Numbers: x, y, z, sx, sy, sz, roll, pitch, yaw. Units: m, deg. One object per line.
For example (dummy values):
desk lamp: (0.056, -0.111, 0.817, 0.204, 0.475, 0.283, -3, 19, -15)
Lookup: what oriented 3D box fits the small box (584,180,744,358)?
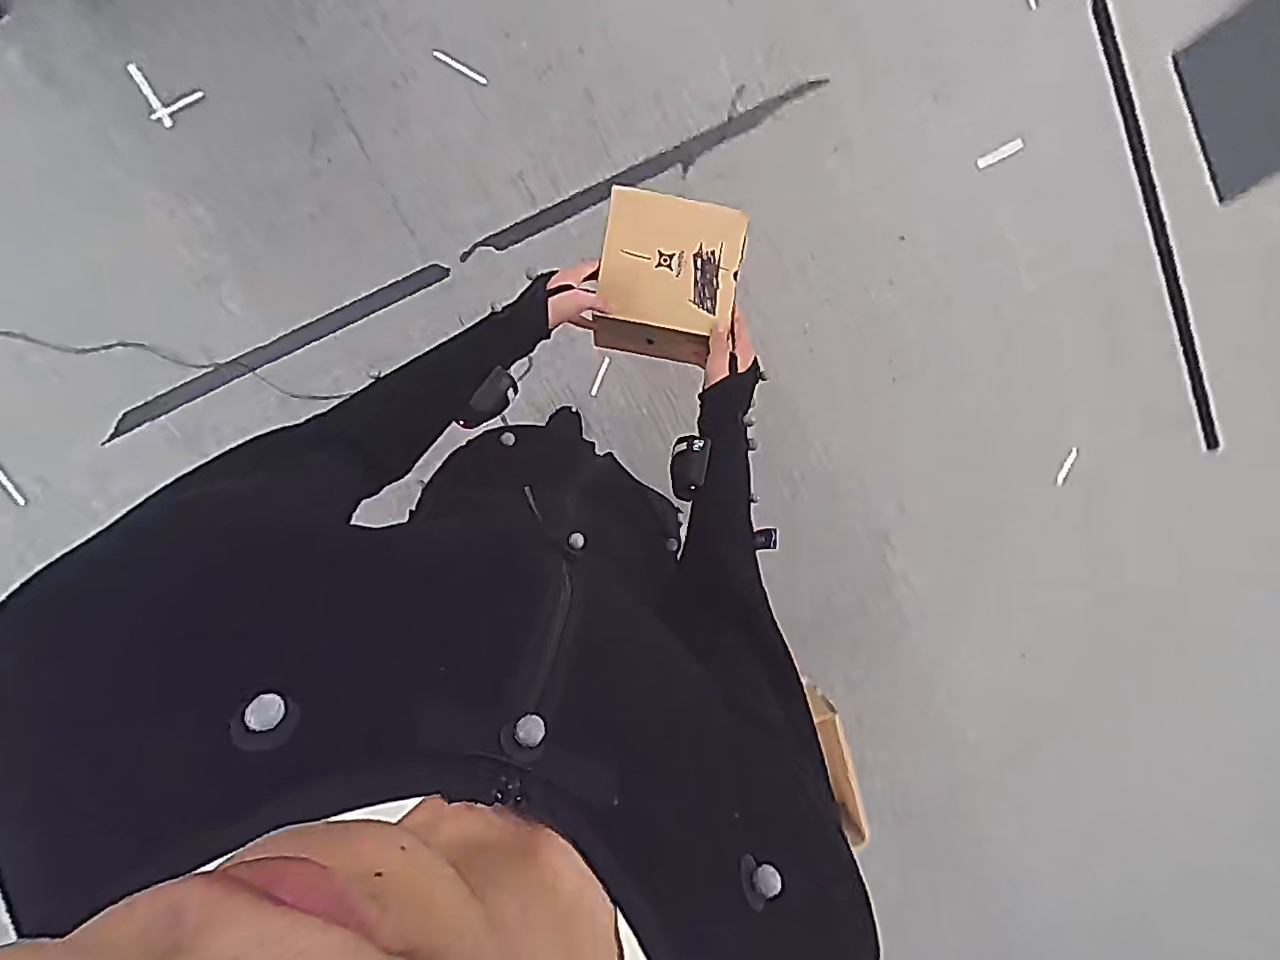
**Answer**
small box: (0.025, -0.271, 0.737, 0.179, 0.176, 0.168, 9, 90, -3)
